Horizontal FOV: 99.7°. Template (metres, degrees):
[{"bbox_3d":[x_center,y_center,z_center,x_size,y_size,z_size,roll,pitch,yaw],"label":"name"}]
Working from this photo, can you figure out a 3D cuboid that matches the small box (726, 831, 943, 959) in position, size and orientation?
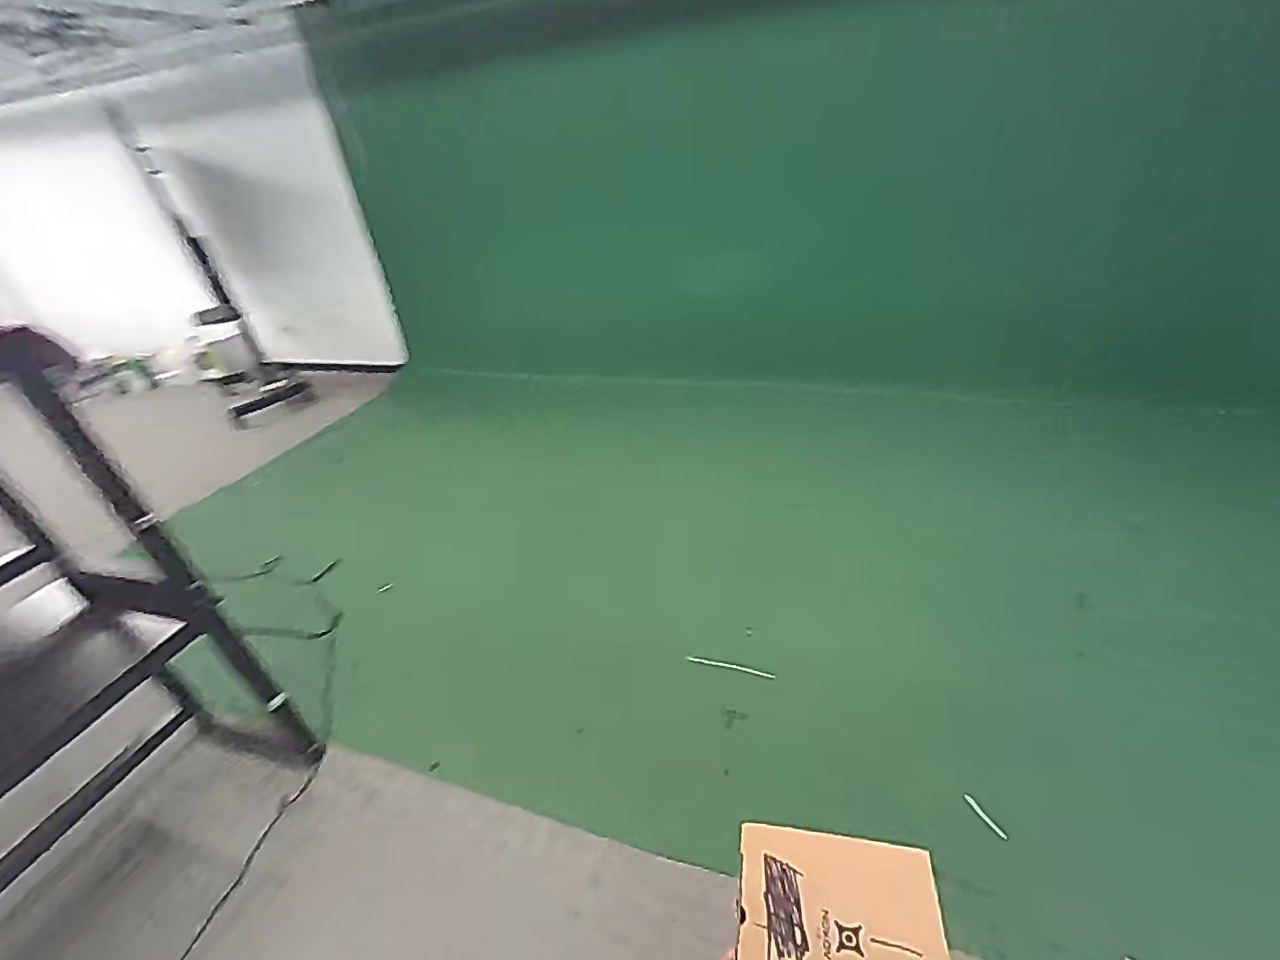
[{"bbox_3d":[0.174,0.464,0.498,0.179,0.176,0.168,0,31,14],"label":"small box"}]
